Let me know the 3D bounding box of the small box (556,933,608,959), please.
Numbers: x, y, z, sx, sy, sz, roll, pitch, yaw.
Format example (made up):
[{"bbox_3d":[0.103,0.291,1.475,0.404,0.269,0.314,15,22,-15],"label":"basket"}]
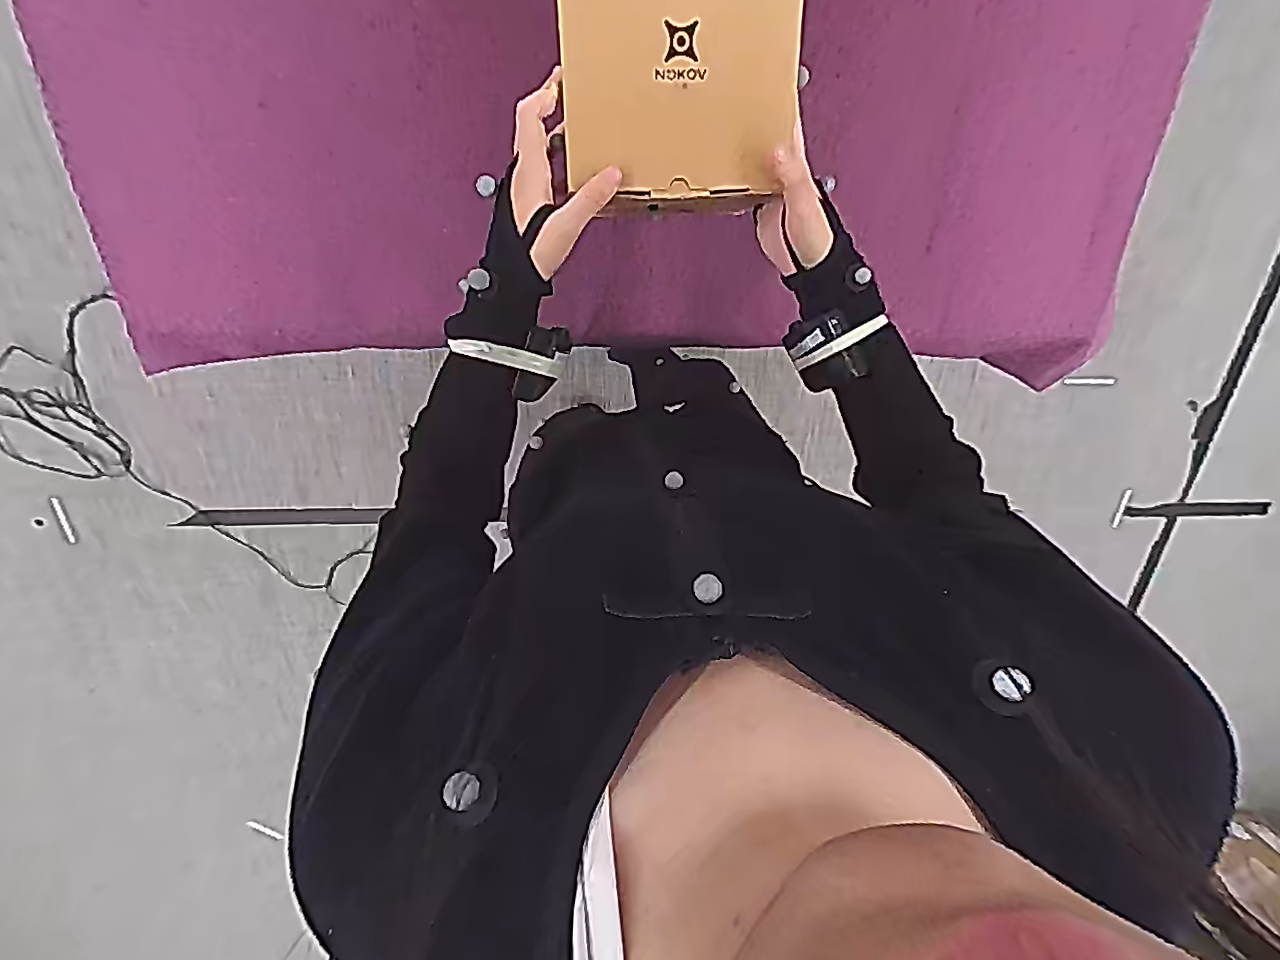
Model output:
[{"bbox_3d":[-0.194,1.677,1.828,0.179,0.176,0.168,-2,111,-4],"label":"small box"}]
